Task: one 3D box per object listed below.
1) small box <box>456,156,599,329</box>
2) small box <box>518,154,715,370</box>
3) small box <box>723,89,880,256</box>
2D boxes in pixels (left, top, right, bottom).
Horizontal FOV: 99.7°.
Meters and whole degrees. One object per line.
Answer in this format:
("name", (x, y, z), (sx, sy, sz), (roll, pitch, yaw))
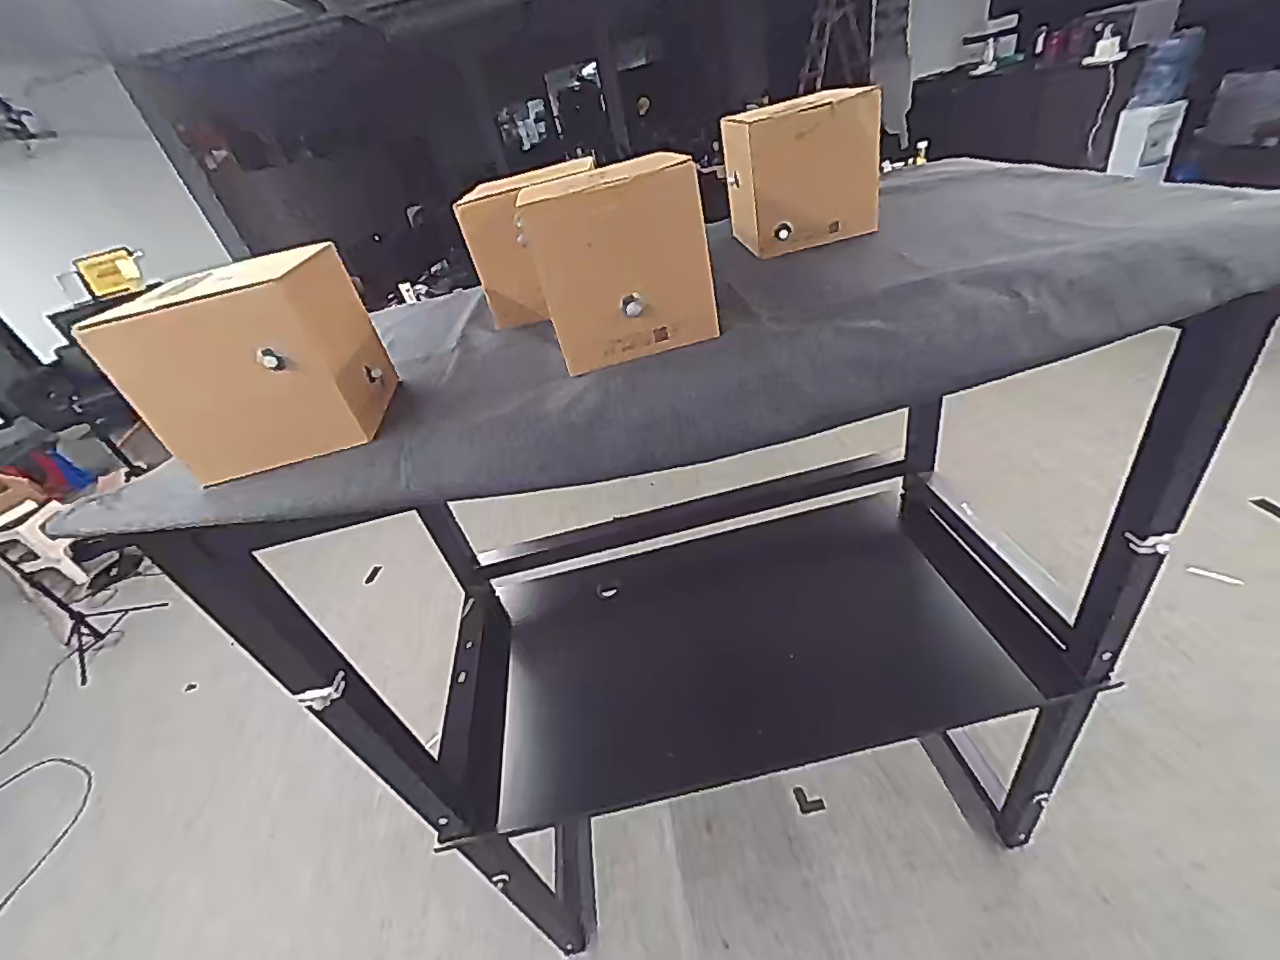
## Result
("small box", (-0.128, -0.334, 0.764), (0.179, 0.176, 0.168), (-11, 36, 5))
("small box", (-0.024, -0.240, 0.591), (0.168, 0.176, 0.179), (-15, 35, 0))
("small box", (0.225, -0.434, 0.771), (0.168, 0.176, 0.179), (-12, 35, 3))
